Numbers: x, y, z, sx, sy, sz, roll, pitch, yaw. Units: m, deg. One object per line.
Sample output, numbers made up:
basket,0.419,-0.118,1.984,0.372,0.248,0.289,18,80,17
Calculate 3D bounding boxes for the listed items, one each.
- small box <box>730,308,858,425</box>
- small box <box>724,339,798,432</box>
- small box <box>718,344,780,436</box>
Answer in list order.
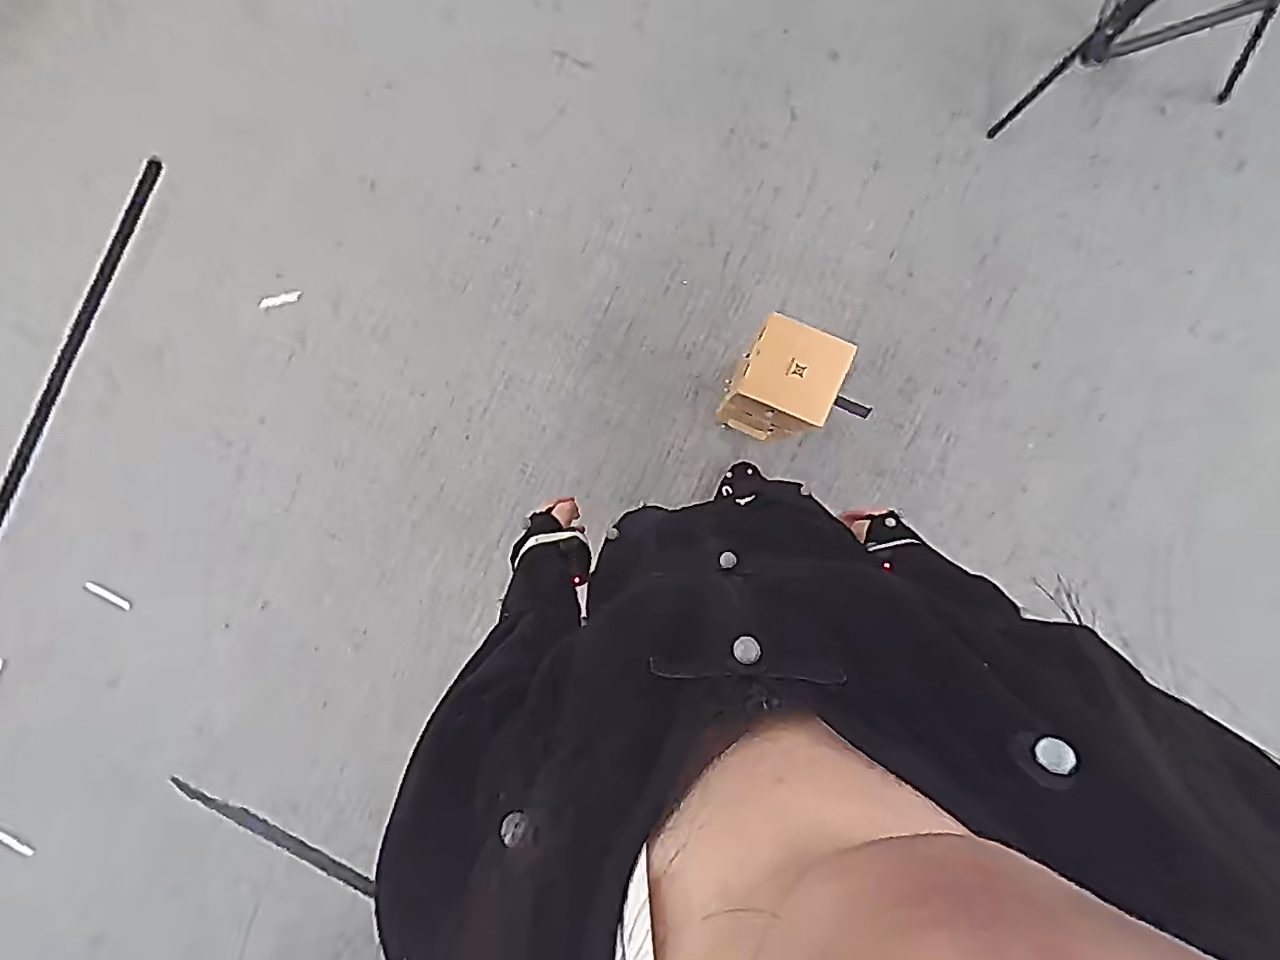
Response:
small box,0.297,-0.217,1.082,0.179,0.176,0.168,23,93,2
small box,0.303,-0.220,1.244,0.168,0.176,0.179,24,91,2
small box,0.311,-0.224,1.406,0.168,0.176,0.179,24,92,3
